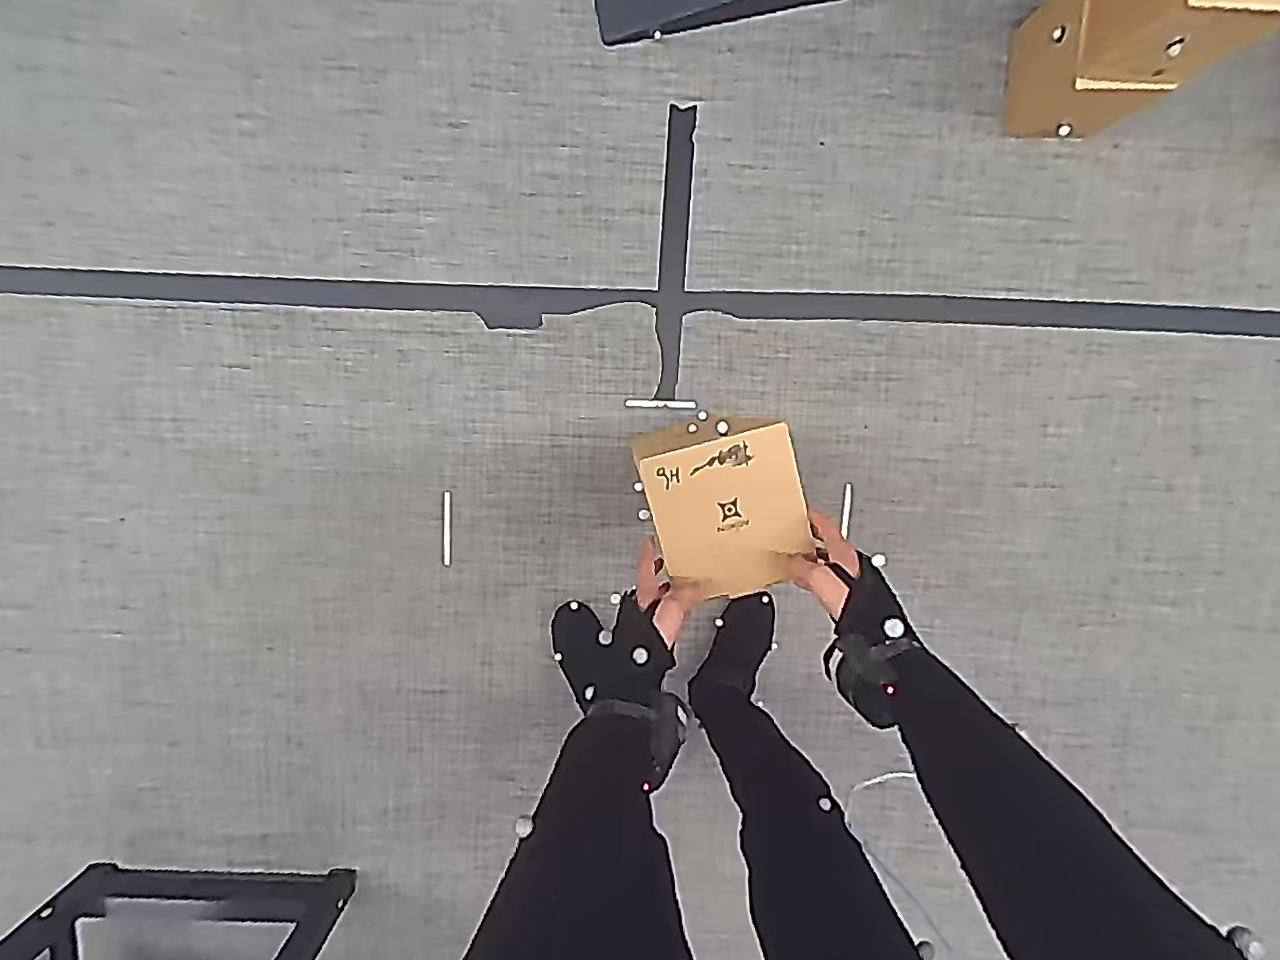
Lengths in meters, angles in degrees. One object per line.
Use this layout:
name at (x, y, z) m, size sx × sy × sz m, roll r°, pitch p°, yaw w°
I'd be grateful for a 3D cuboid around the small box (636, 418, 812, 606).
small box at (0.095, 0.029, 0.673) m, size 0.168 × 0.176 × 0.179 m, roll -15°, pitch 99°, yaw 1°
